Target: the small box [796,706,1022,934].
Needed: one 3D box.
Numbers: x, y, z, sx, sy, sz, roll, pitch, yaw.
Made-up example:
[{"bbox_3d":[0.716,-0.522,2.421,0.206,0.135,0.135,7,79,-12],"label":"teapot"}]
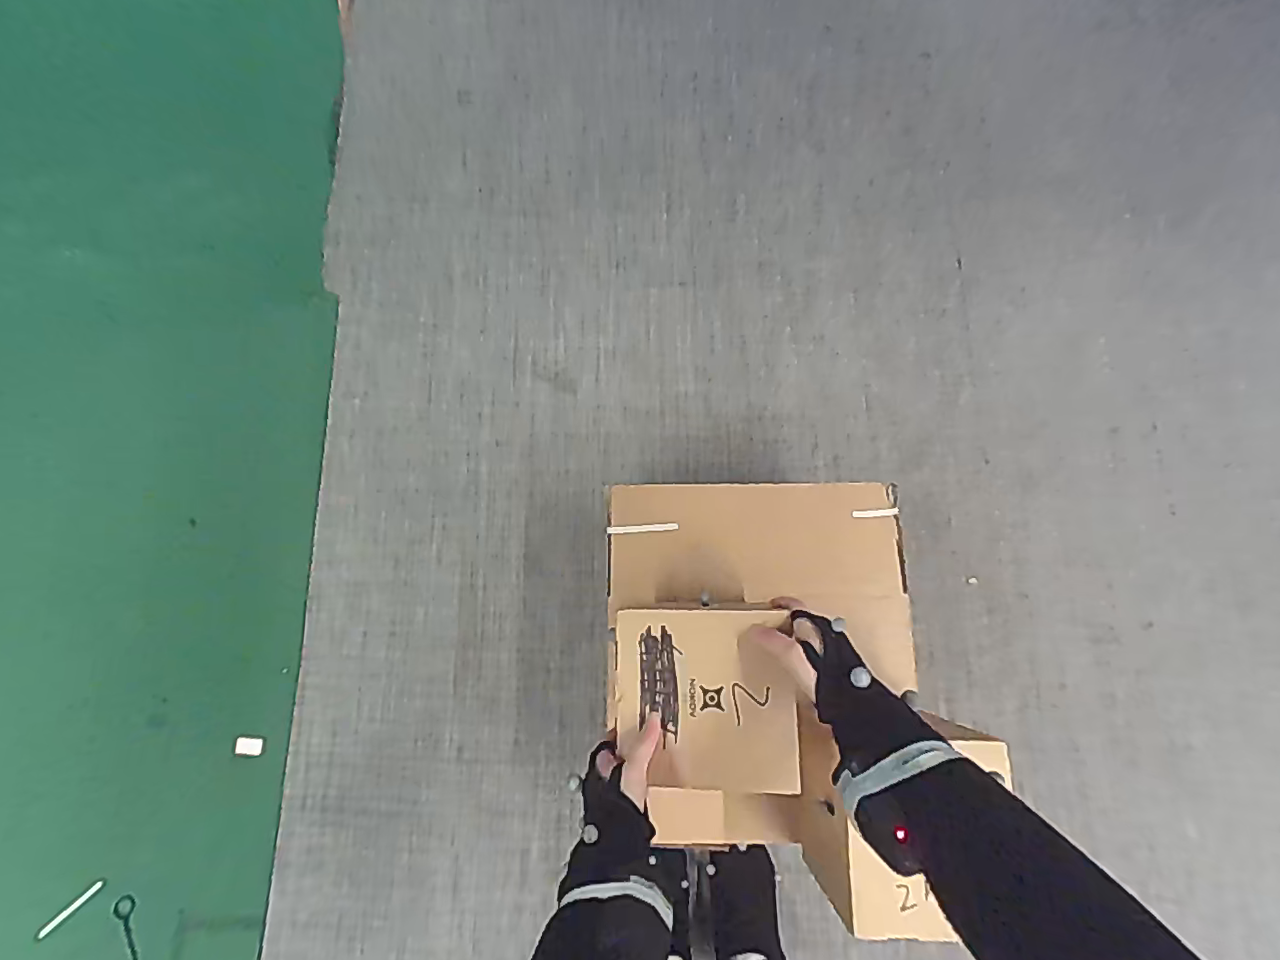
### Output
[{"bbox_3d":[0.278,0.356,0.602,0.168,0.176,0.179,1,77,1],"label":"small box"}]
